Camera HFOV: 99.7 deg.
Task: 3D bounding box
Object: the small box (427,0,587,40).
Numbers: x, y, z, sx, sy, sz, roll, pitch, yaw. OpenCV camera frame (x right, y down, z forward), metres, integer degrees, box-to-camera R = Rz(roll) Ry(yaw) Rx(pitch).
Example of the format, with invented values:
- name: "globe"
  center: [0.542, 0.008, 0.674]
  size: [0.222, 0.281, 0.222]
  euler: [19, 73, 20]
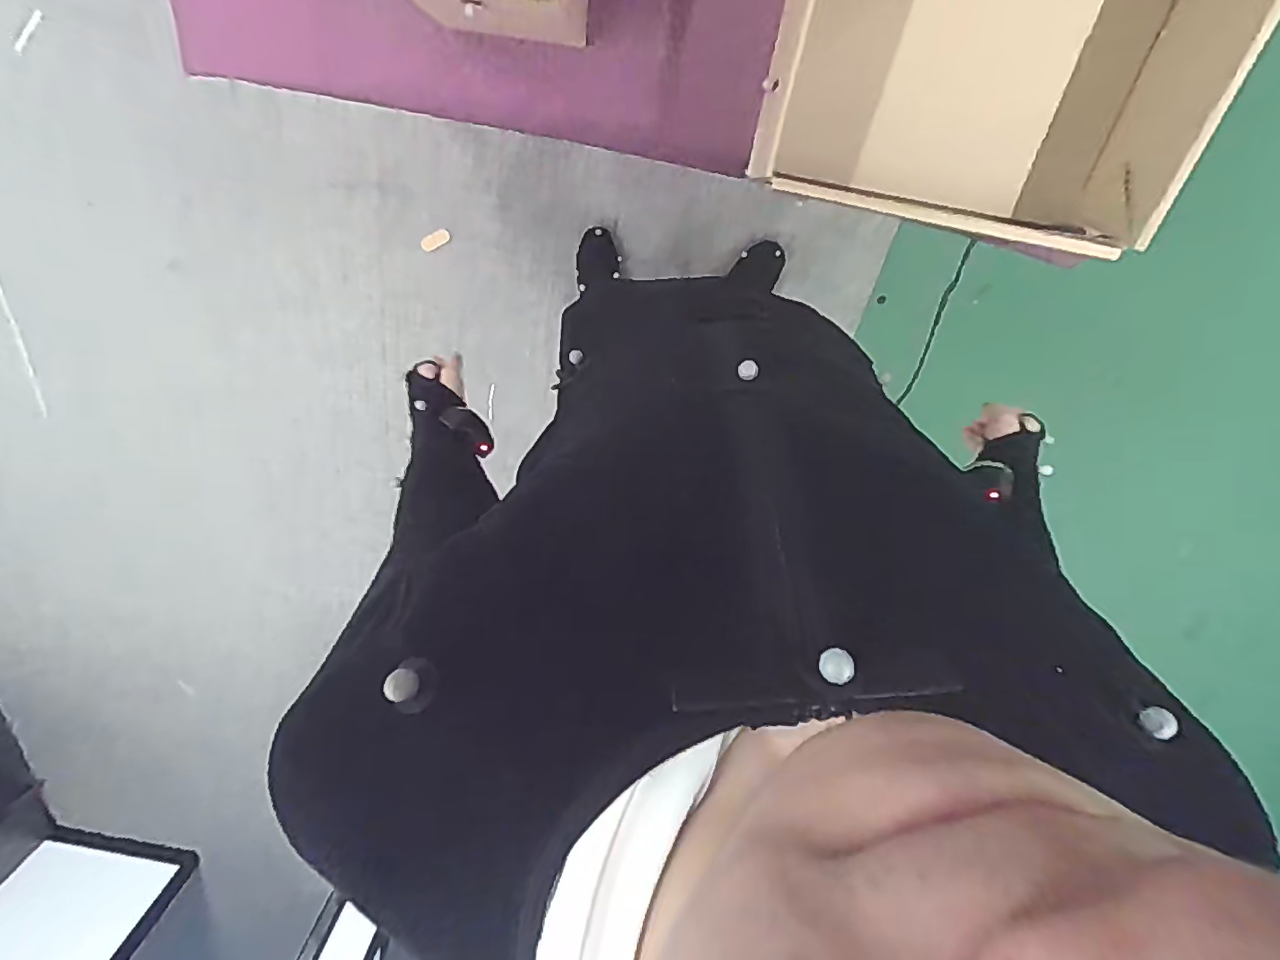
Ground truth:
- name: "small box"
  center: [-0.149, -0.581, 0.552]
  size: [0.179, 0.176, 0.168]
  euler: [9, 117, 0]
